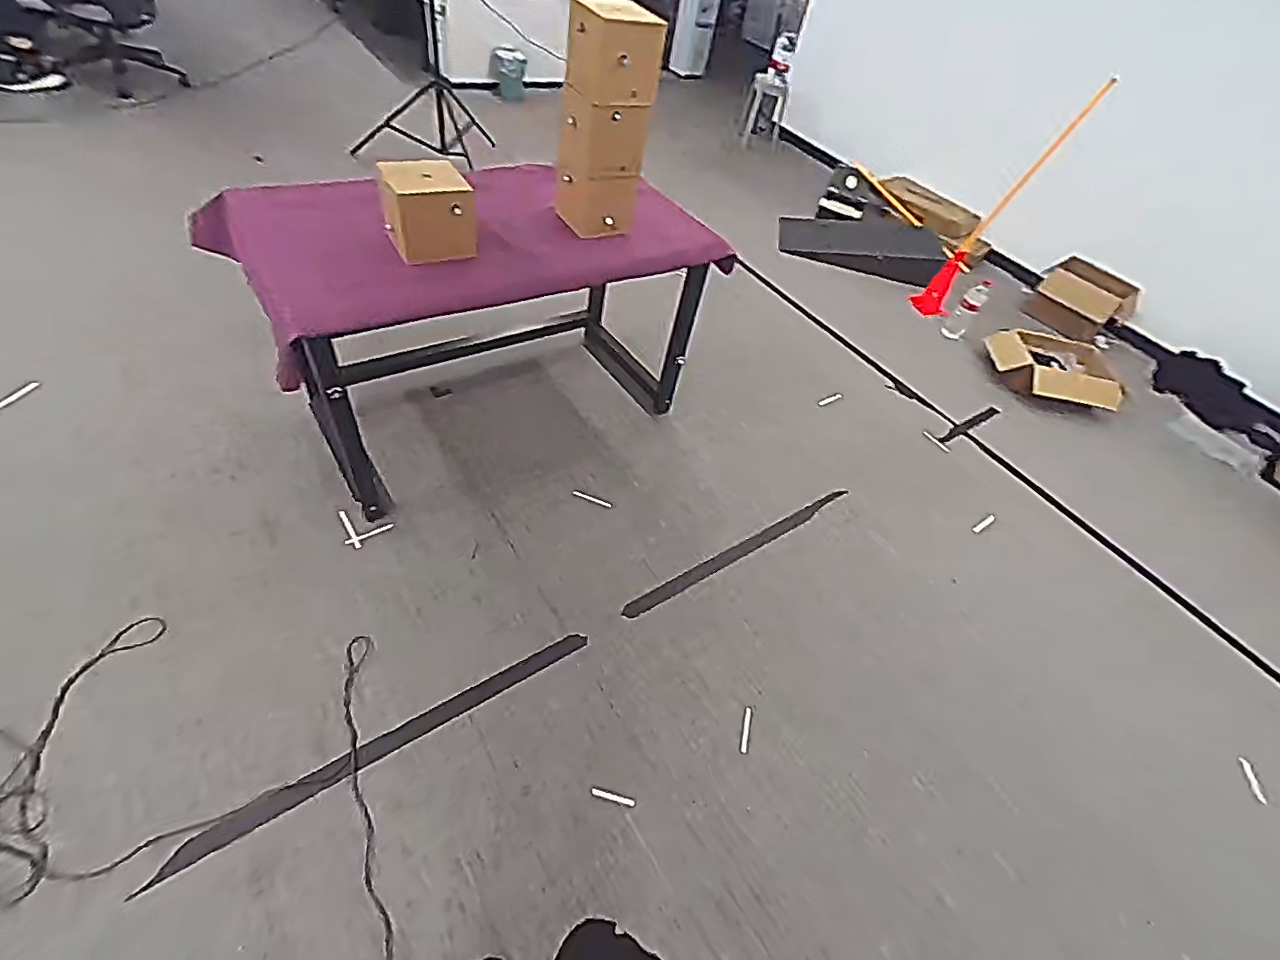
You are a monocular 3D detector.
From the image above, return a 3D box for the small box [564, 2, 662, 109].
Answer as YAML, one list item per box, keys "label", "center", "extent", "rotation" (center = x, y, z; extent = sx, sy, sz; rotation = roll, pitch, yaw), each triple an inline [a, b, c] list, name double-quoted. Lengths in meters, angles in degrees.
- label: "small box"
  center: [-0.071, -1.009, 1.292]
  extent: [0.168, 0.176, 0.179]
  rotation: [-20, 57, -25]

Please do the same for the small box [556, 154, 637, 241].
- label: "small box"
  center: [-0.132, -0.809, 1.544]
  extent: [0.168, 0.176, 0.179]
  rotation: [-21, 58, -27]

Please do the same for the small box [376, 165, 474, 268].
- label: "small box"
  center: [-0.516, -0.640, 1.315]
  extent: [0.179, 0.176, 0.168]
  rotation: [-21, 57, -27]

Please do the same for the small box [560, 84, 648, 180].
- label: "small box"
  center: [-0.102, -0.910, 1.418]
  extent: [0.168, 0.176, 0.179]
  rotation: [-19, 56, -25]
